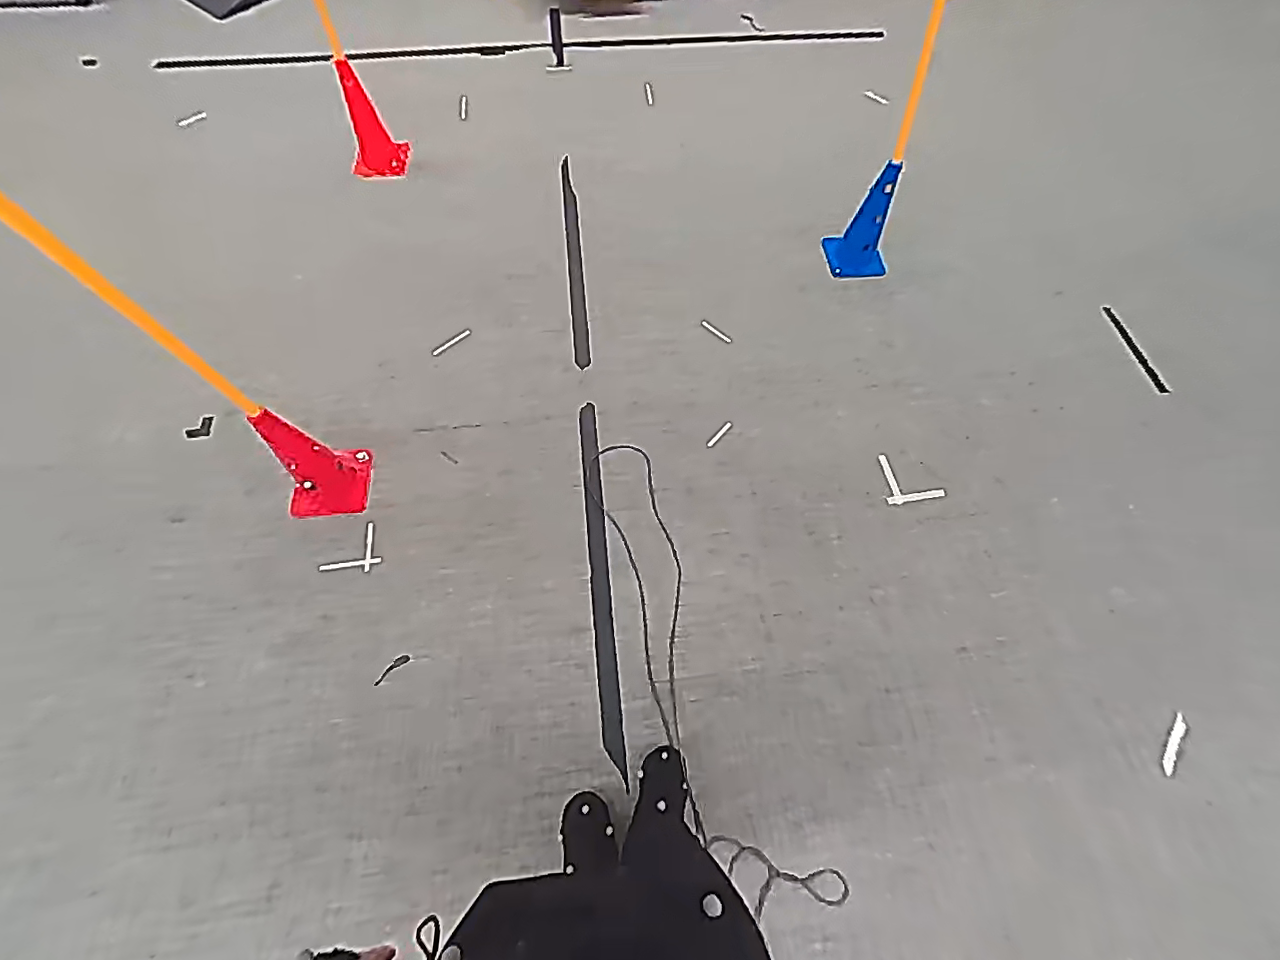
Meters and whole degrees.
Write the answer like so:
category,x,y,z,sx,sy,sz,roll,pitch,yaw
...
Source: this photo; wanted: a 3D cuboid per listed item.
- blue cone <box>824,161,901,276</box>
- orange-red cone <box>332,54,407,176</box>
category,x,y,z,sx,sy,sz,roll,pitch,yaw
blue cone,0.771,-0.881,1.806,0.193,0.380,0.192,-3,64,-3
orange-red cone,-1.014,-1.329,1.954,0.198,0.360,0.199,-3,63,-3
